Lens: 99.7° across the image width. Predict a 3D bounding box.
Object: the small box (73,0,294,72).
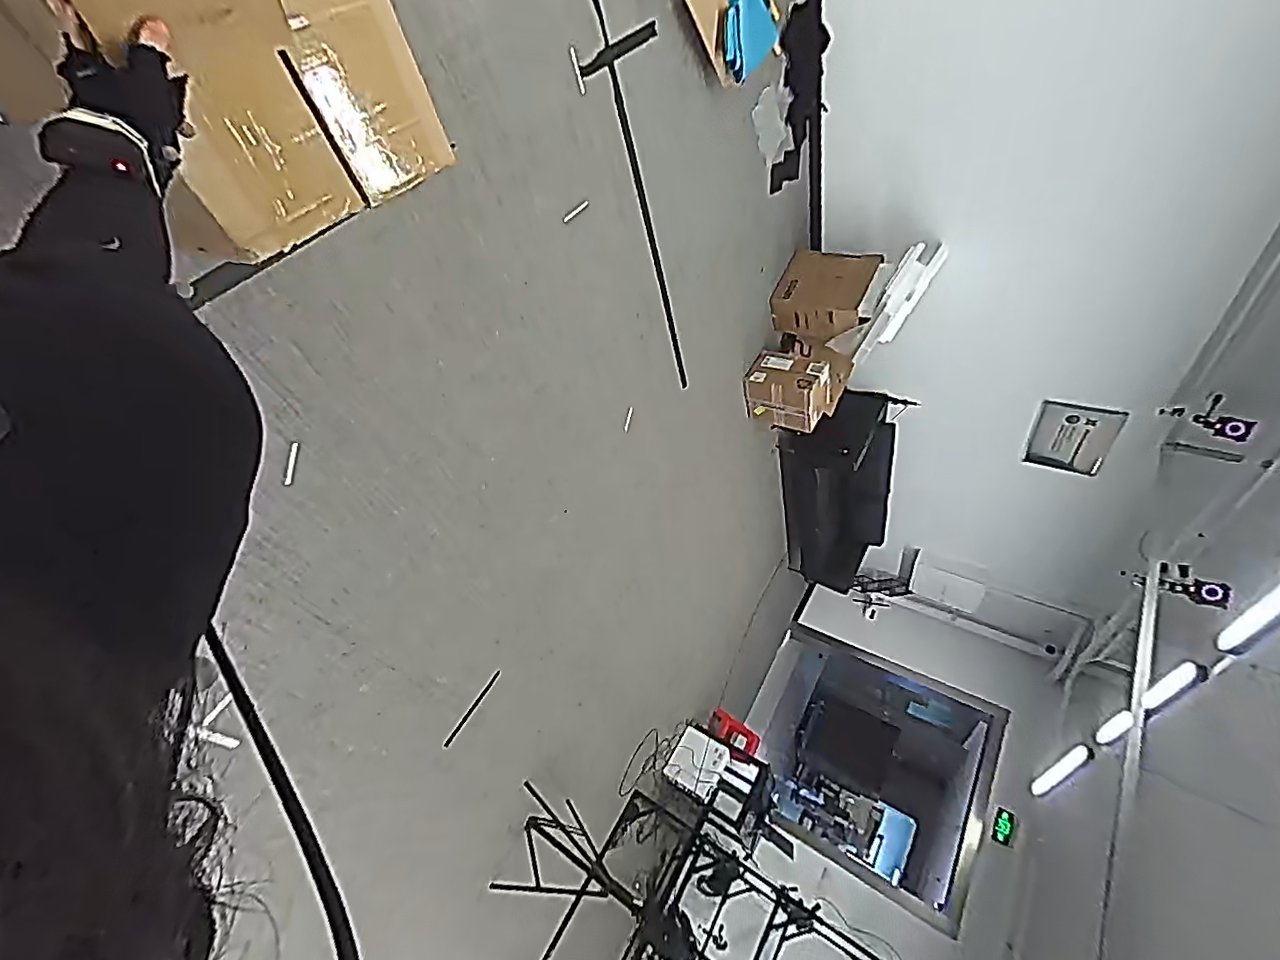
[{"bbox_3d":[-0.454,-0.517,0.472,0.168,0.176,0.179,-35,174,-23],"label":"small box"}]
